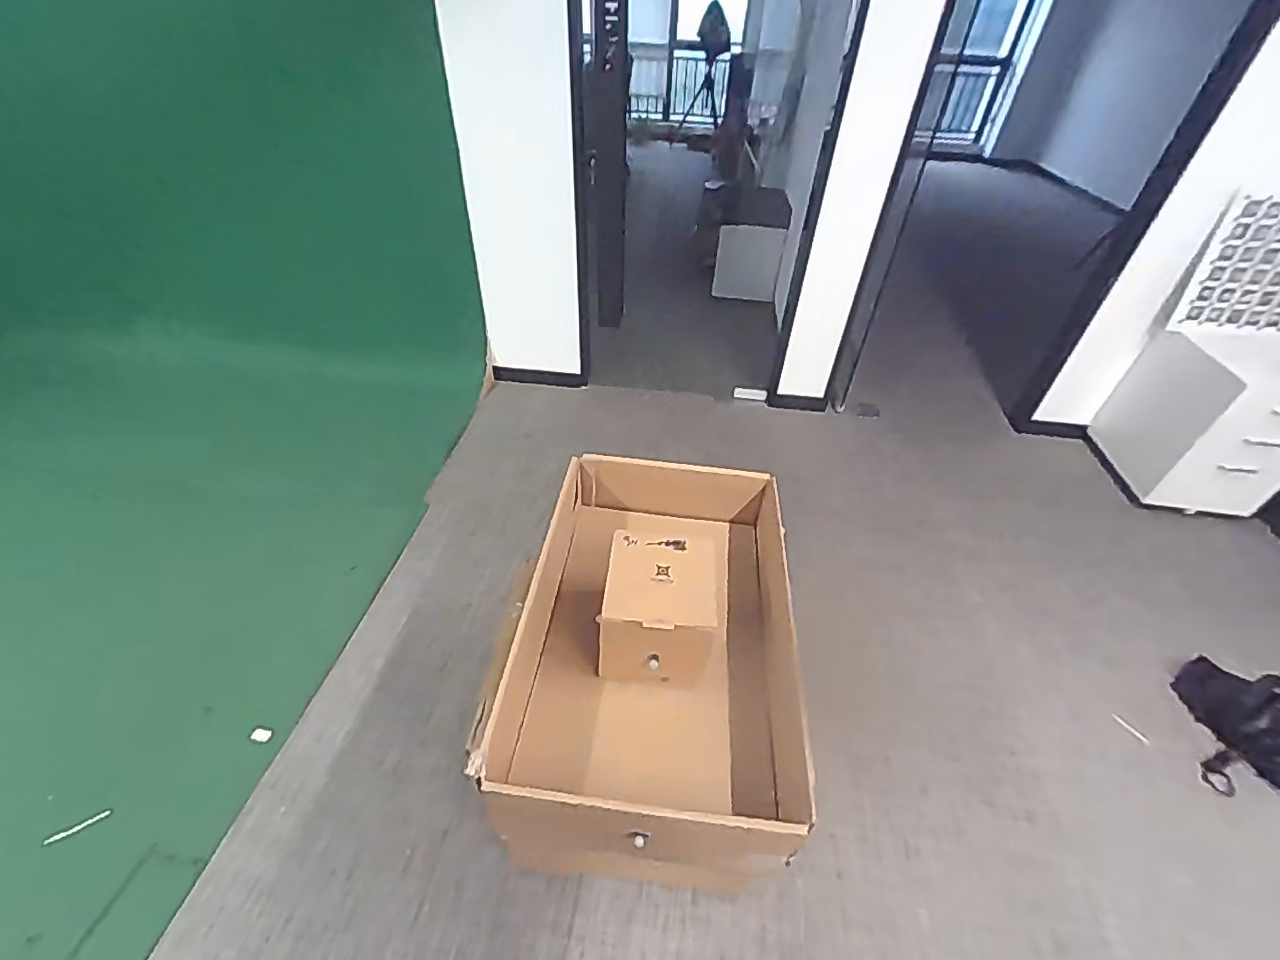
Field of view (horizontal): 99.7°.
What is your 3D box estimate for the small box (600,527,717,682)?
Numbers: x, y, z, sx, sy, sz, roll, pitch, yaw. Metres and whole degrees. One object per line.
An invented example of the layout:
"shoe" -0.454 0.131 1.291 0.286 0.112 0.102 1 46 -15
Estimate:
"small box" 0.031 0.201 0.867 0.168 0.176 0.179 6 42 2
